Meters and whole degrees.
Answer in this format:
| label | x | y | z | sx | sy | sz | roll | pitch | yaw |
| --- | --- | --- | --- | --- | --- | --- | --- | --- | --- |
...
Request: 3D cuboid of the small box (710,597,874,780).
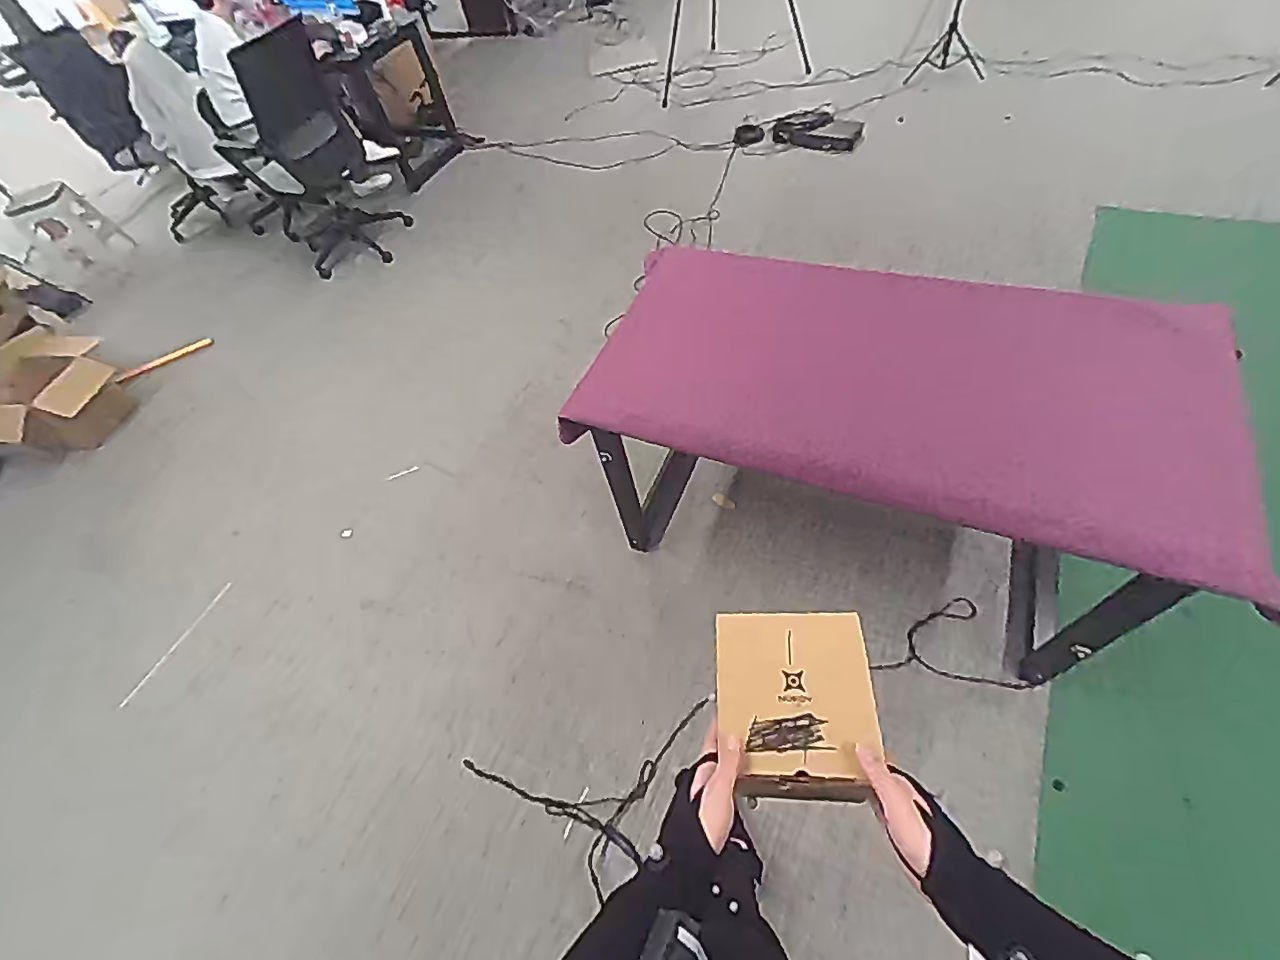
| label | x | y | z | sx | sy | sz | roll | pitch | yaw |
| --- | --- | --- | --- | --- | --- | --- | --- | --- | --- |
| small box | 0.174 | 0.256 | 0.658 | 0.168 | 0.176 | 0.179 | -3 | 54 | 10 |
